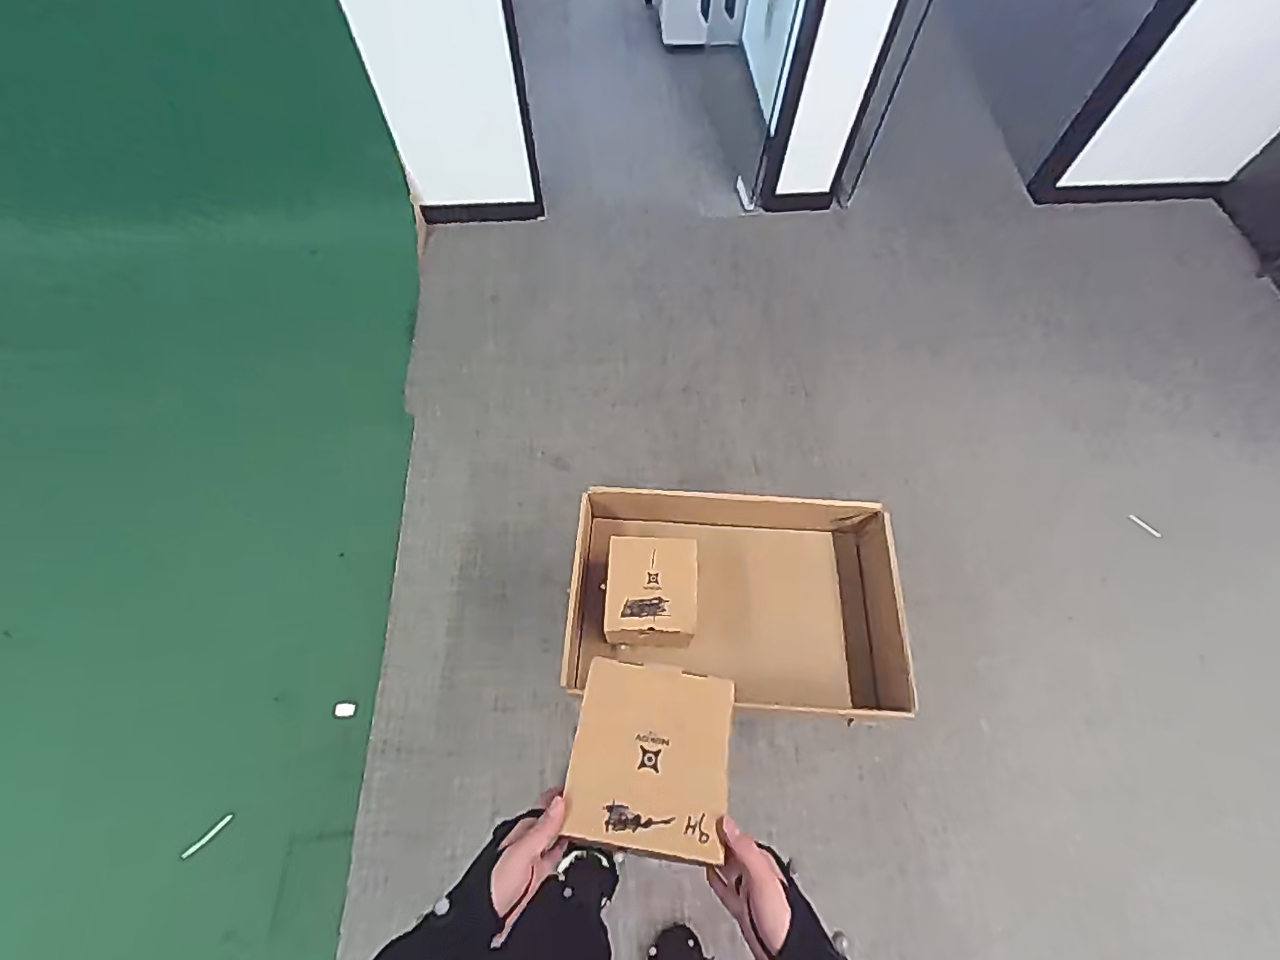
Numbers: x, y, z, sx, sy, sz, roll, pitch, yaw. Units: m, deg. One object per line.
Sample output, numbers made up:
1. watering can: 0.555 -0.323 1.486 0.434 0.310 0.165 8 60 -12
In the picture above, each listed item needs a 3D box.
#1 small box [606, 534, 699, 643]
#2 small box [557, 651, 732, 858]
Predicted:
1. small box: 0.026 0.217 1.056 0.168 0.176 0.179 2 64 1
2. small box: 0.010 0.327 0.640 0.168 0.176 0.179 7 55 6
